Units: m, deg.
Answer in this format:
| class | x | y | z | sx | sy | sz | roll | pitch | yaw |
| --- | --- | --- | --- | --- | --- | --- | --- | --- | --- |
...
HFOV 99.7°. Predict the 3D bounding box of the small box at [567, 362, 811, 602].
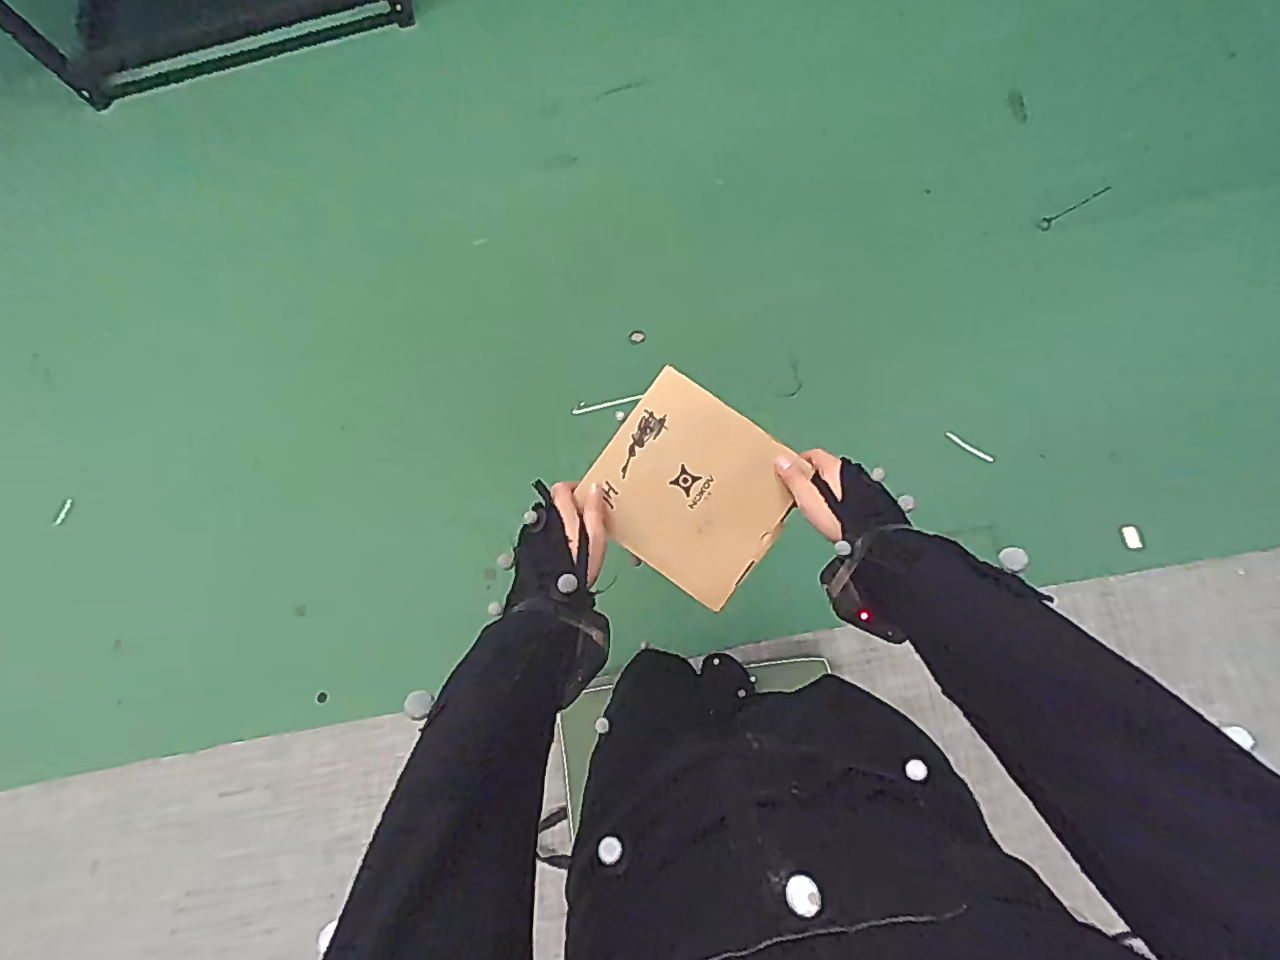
| class | x | y | z | sx | sy | sz | roll | pitch | yaw |
| --- | --- | --- | --- | --- | --- | --- | --- | --- | --- |
| small box | 0.046 | 0.005 | 0.589 | 0.179 | 0.176 | 0.168 | 36 | 86 | 2 |
